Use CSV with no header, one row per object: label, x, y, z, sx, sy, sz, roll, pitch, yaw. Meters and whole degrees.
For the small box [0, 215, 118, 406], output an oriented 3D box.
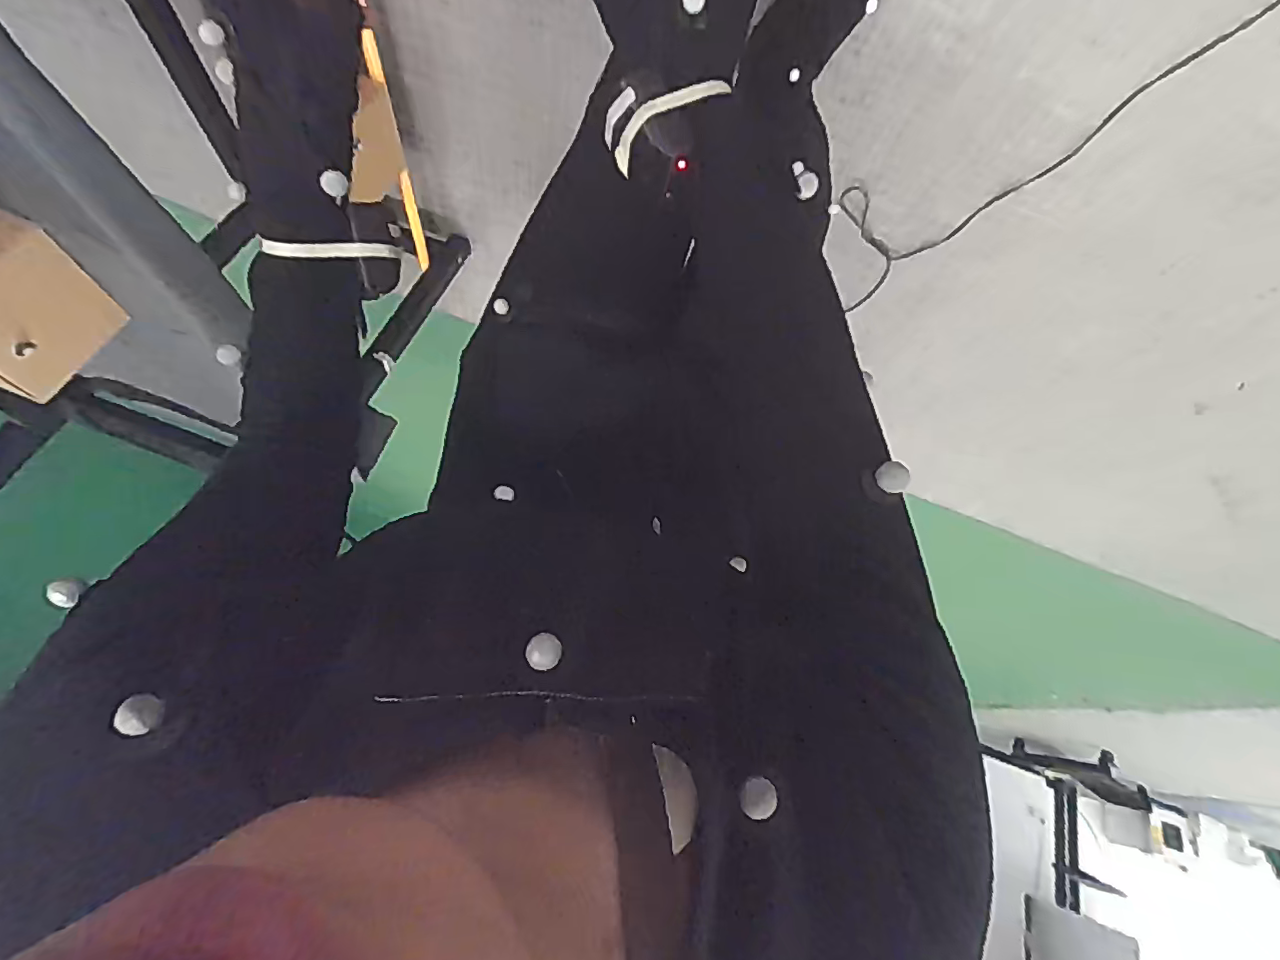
small box,-0.839,-0.231,0.681,0.168,0.176,0.179,22,153,-3
